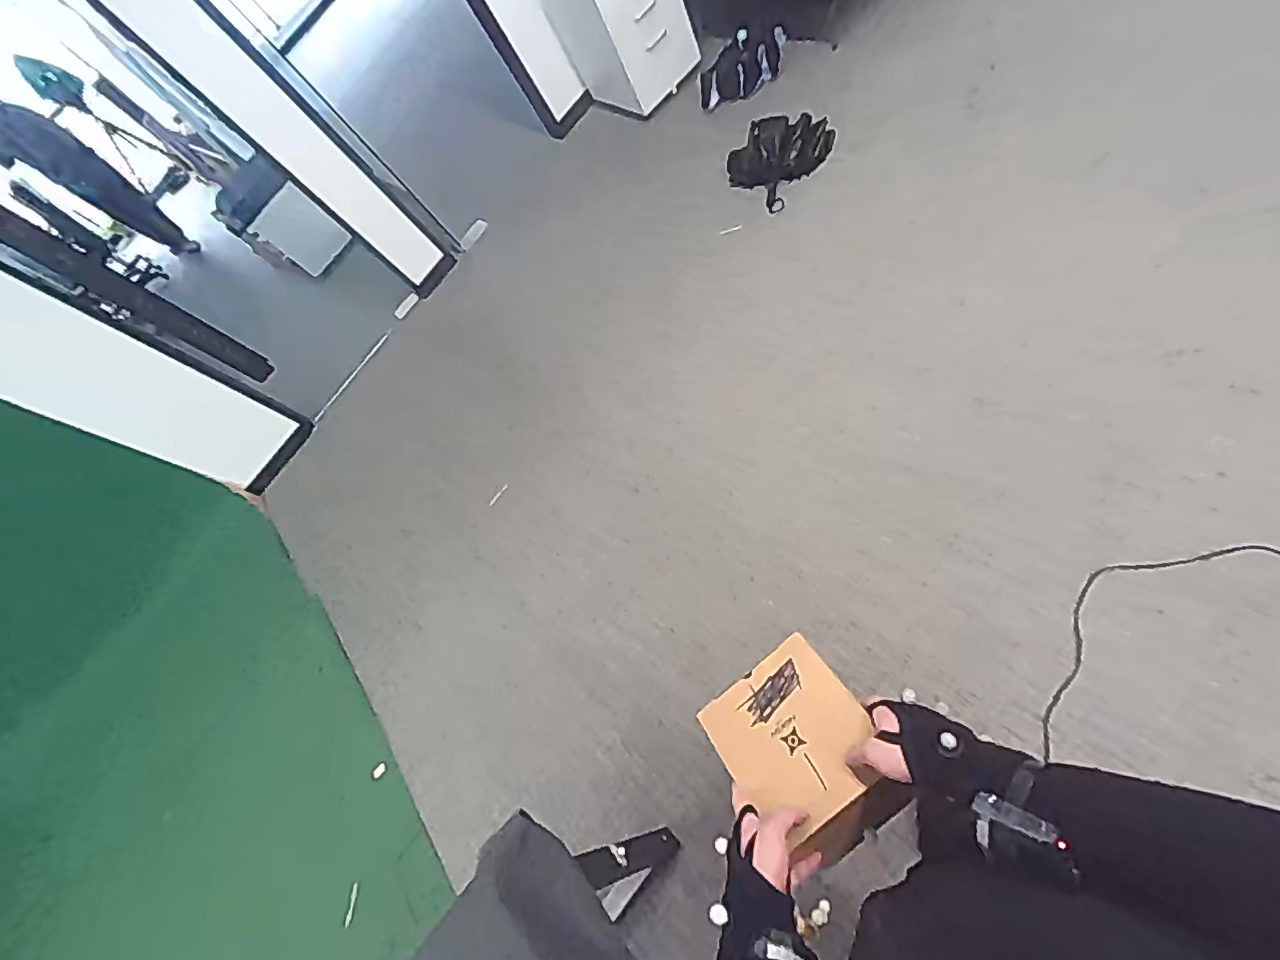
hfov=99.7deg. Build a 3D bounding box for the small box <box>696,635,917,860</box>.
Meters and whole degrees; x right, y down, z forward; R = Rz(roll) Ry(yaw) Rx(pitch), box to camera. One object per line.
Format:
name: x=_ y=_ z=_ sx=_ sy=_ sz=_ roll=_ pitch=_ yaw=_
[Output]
small box: x=0.205 y=0.333 z=0.670 sx=0.168 sy=0.176 sz=0.179 roll=-42 pitch=41 yaw=3
